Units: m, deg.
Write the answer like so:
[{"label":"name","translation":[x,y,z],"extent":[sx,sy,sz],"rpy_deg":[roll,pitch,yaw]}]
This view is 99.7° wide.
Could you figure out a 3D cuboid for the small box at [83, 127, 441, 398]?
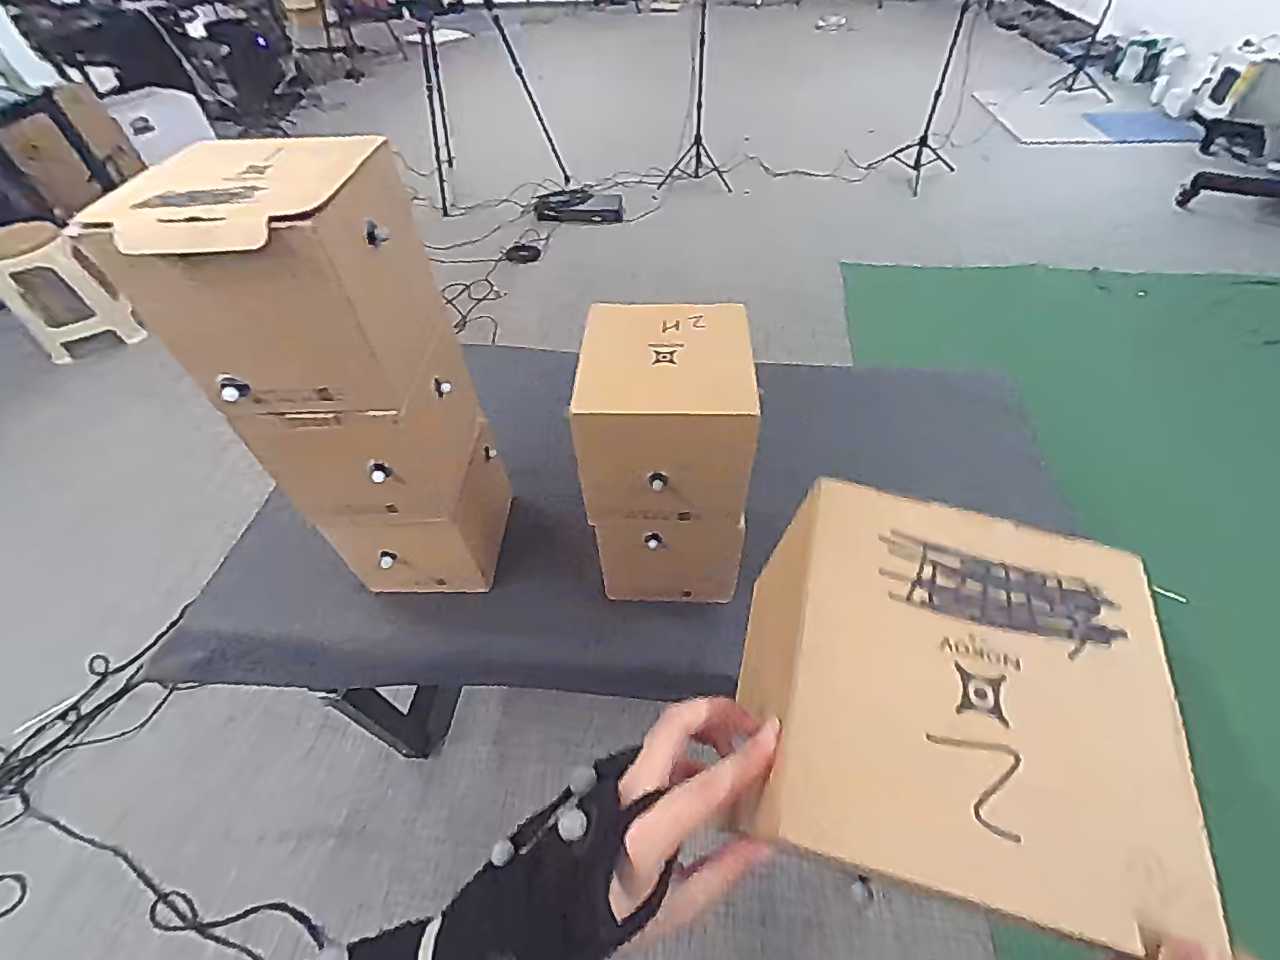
[{"label":"small box","translation":[-0.292,-0.186,0.475],"extent":[0.168,0.176,0.179],"rpy_deg":[-1,48,-1]}]

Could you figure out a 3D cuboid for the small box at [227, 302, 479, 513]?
[{"label":"small box","translation":[-0.290,-0.077,0.598],"extent":[0.168,0.176,0.179],"rpy_deg":[0,48,0]}]

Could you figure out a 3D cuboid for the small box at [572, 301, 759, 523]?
[{"label":"small box","translation":[0.029,-0.070,0.578],"extent":[0.168,0.176,0.179],"rpy_deg":[2,50,2]}]

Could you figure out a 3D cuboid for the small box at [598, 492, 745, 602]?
[{"label":"small box","translation":[0.039,0.037,0.704],"extent":[0.168,0.176,0.179],"rpy_deg":[2,49,3]}]

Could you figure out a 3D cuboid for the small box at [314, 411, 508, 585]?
[{"label":"small box","translation":[-0.284,0.028,0.722],"extent":[0.168,0.176,0.179],"rpy_deg":[0,49,2]}]
